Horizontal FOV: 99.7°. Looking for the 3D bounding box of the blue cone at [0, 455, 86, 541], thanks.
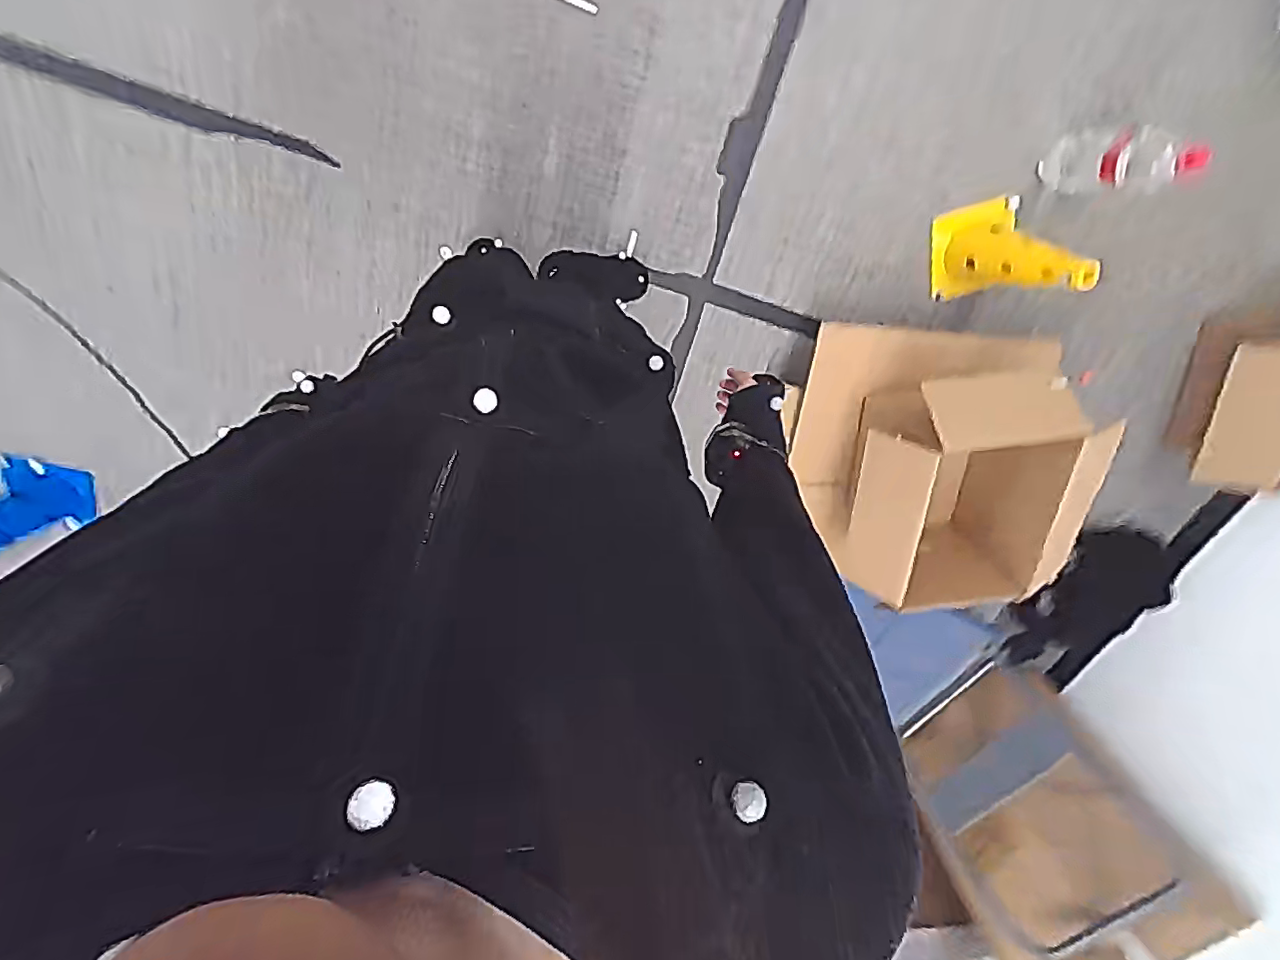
[{"bbox_3d":[-1.537,0.113,1.260,0.192,0.380,0.193,17,116,-15],"label":"blue cone"}]
